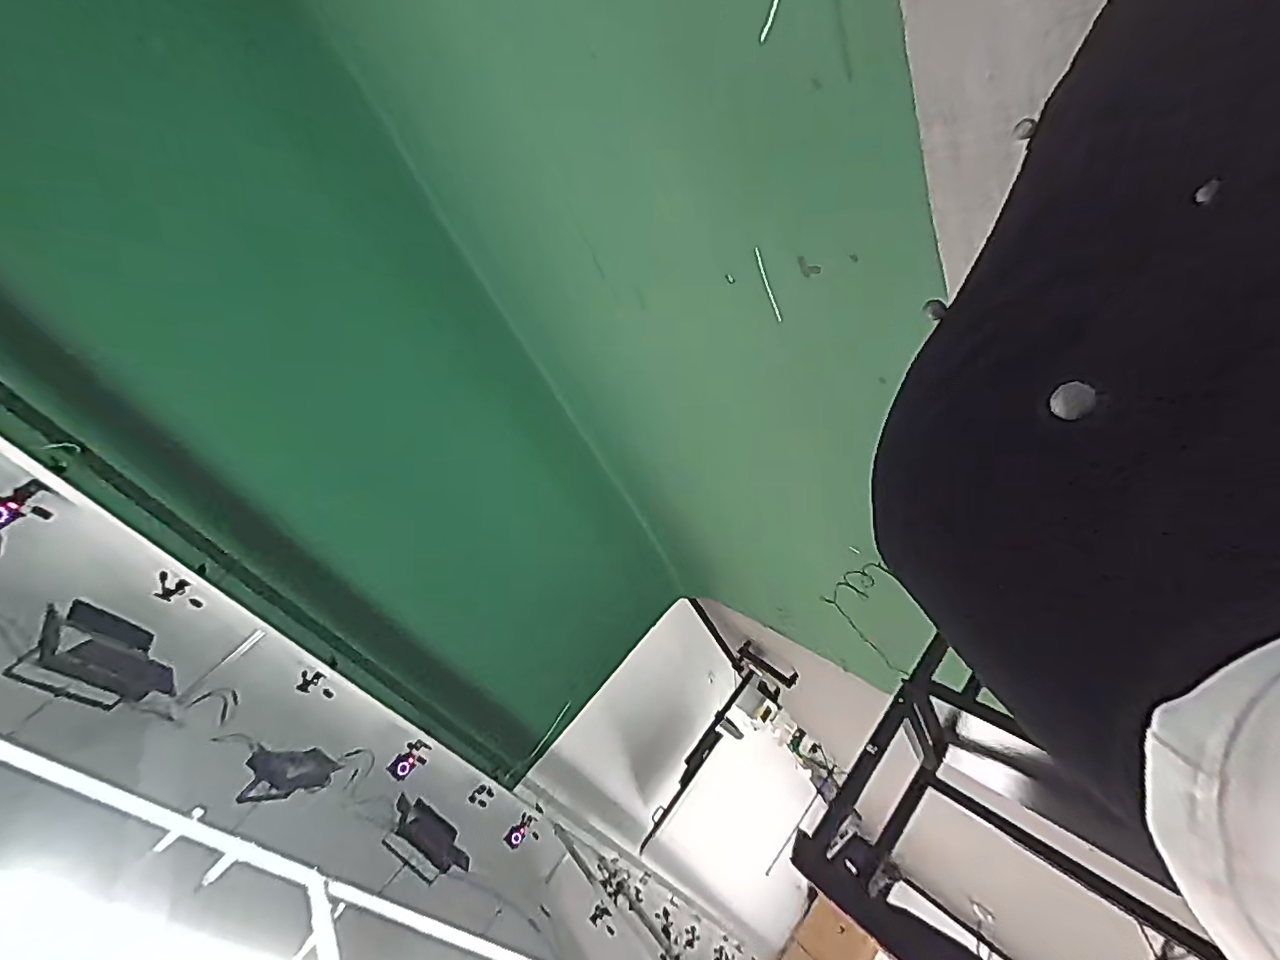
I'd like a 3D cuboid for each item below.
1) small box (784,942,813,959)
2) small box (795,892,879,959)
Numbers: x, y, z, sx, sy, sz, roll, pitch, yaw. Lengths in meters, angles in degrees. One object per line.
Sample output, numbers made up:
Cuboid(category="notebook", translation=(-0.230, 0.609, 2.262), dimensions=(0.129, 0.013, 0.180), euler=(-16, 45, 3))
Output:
Cuboid(category="small box", translation=(0.510, 1.551, 1.621), dimensions=(0.179, 0.176, 0.168), euler=(18, 146, 51))
Cuboid(category="small box", translation=(0.619, 1.447, 1.687), dimensions=(0.168, 0.176, 0.179), euler=(18, 146, 51))
